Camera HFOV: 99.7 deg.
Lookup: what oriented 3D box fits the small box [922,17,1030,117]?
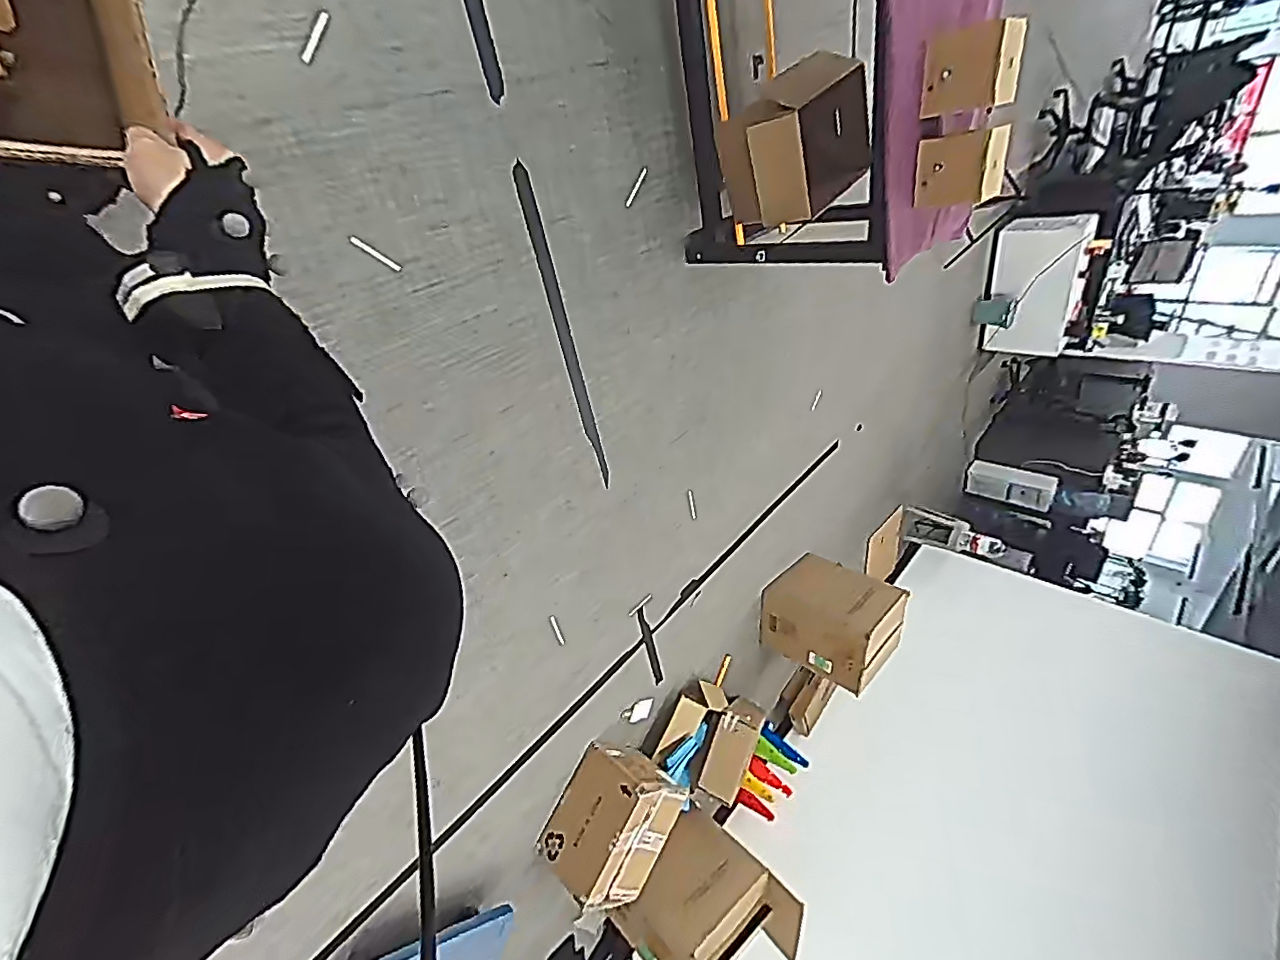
[{"bbox_3d":[0.816,-1.003,1.321,0.179,0.176,0.168,-34,128,-34],"label":"small box"}]

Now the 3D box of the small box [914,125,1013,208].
[{"bbox_3d":[0.855,-0.830,1.436,0.179,0.176,0.168,-34,128,-35],"label":"small box"}]
